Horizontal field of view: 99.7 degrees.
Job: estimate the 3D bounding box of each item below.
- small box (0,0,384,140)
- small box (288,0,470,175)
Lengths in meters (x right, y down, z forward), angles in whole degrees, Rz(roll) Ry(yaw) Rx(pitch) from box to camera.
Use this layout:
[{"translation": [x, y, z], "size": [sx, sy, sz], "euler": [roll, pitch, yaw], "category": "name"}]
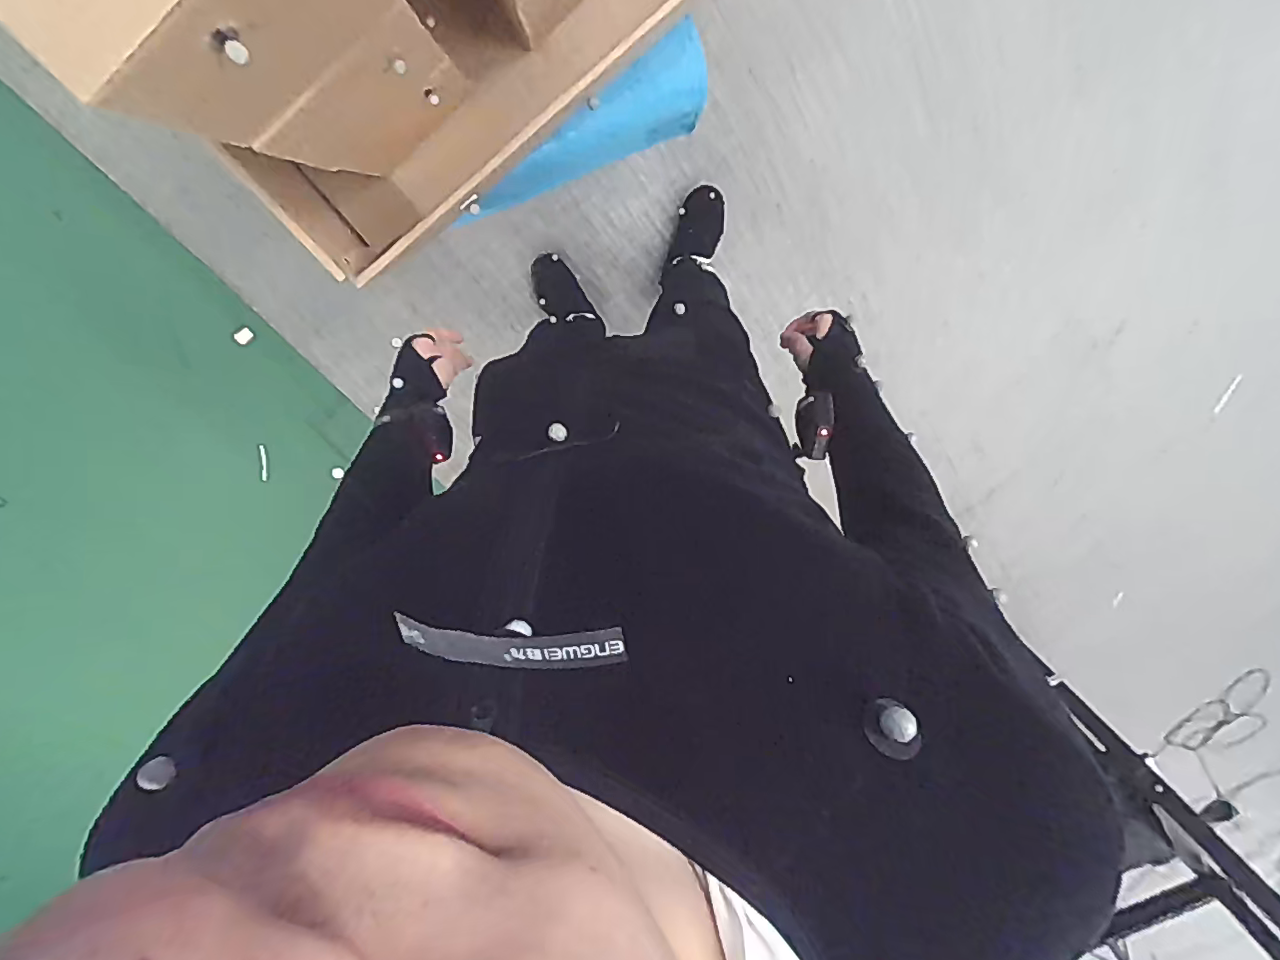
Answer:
[{"translation": [-0.297, -0.349, 0.336], "size": [0.179, 0.176, 0.168], "euler": [-35, 114, 10], "category": "small box"}, {"translation": [-0.325, -0.489, 0.633], "size": [0.179, 0.176, 0.168], "euler": [-36, 113, 11], "category": "small box"}]
